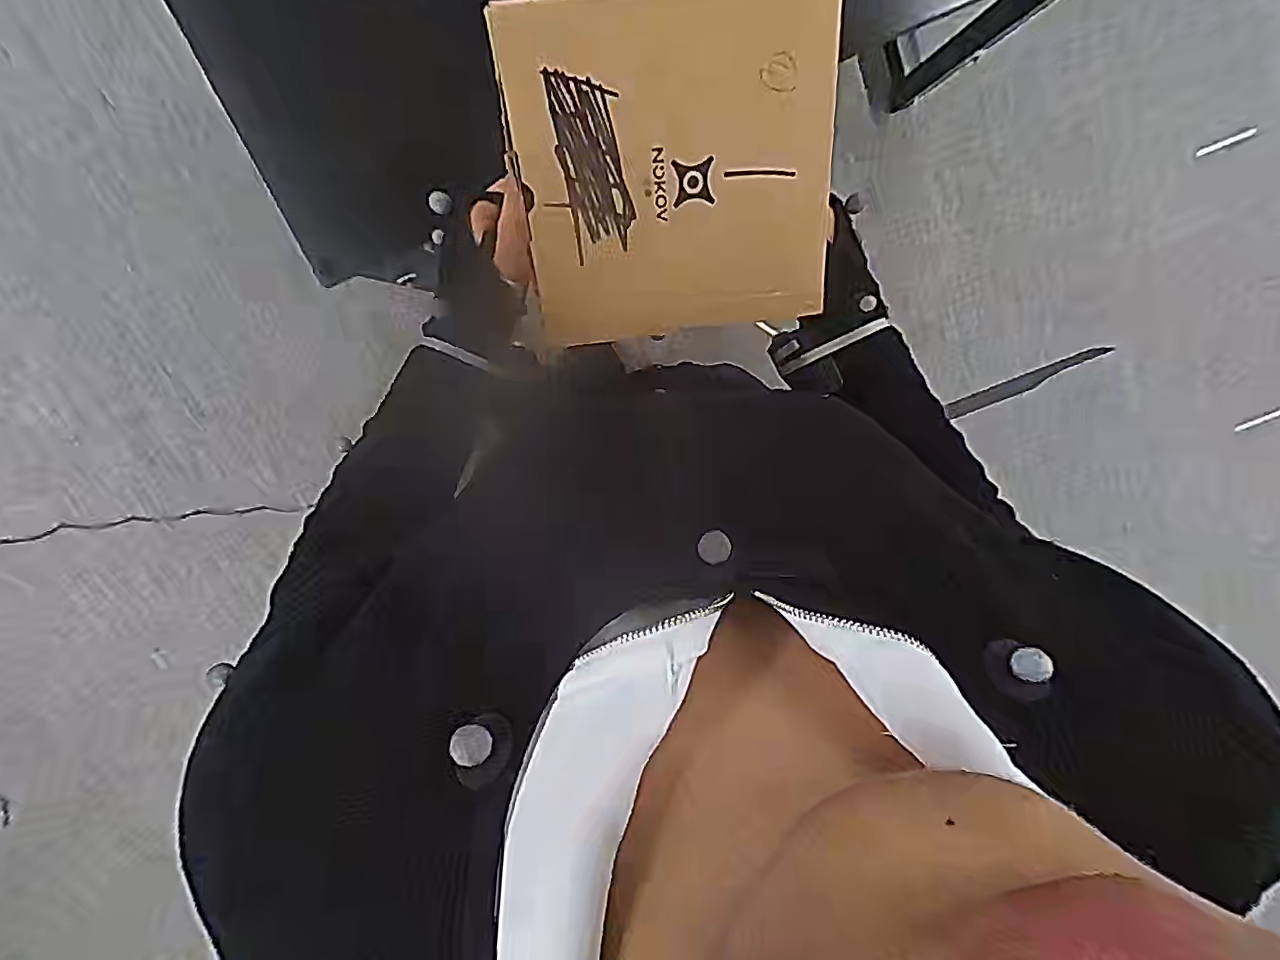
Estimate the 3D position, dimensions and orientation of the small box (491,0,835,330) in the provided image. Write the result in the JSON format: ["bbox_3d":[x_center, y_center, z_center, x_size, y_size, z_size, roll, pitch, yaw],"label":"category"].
[{"bbox_3d":[0.011,-0.210,0.374,0.179,0.176,0.168,-8,118,-3],"label":"small box"}]
